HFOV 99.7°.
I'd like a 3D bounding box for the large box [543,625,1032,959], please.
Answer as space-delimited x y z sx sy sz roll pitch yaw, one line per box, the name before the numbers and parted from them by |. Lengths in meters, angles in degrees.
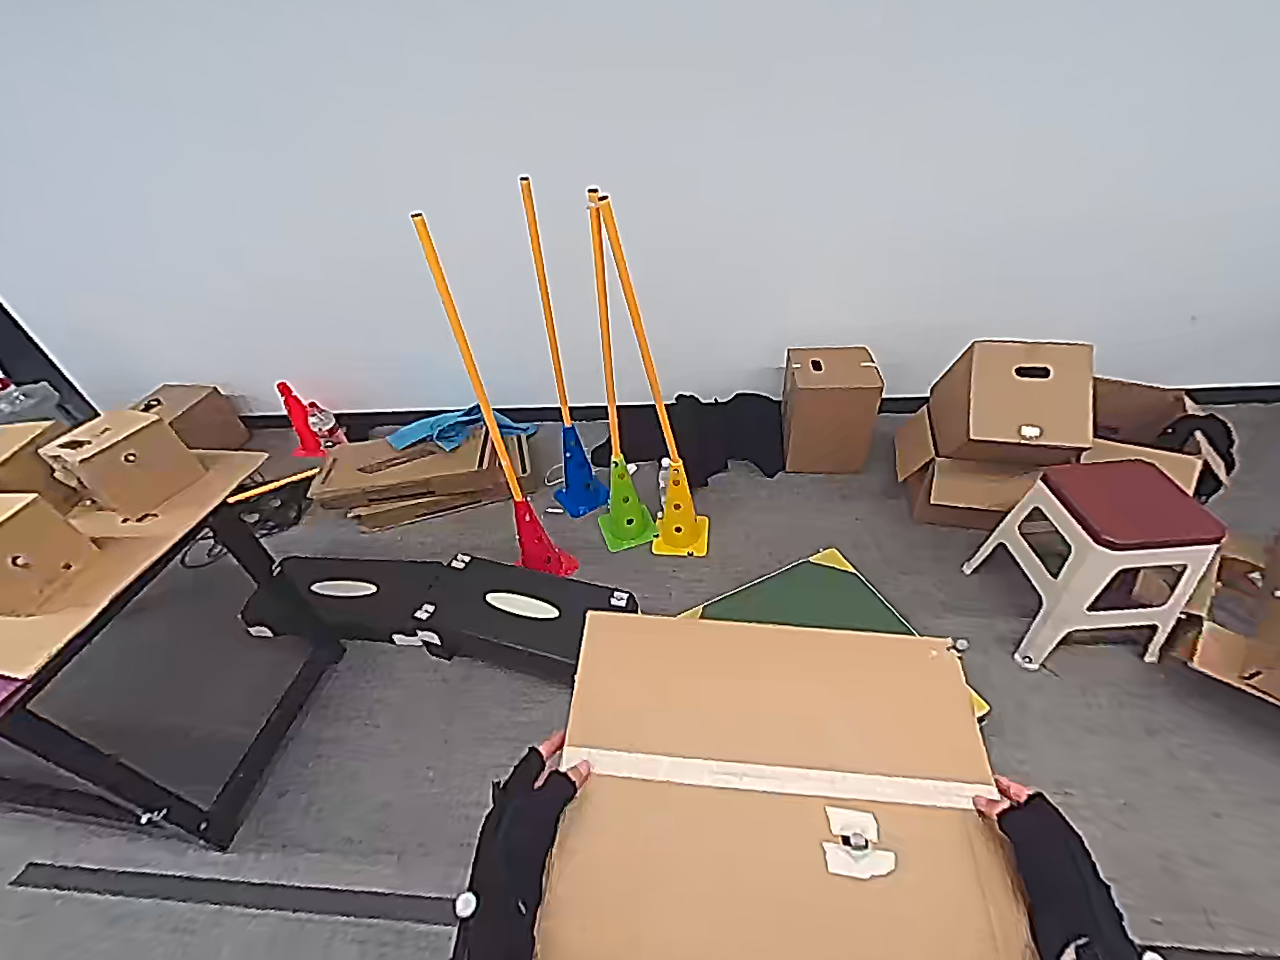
large box | 0.131 0.392 0.633 0.408 0.320 0.320 3 50 5
